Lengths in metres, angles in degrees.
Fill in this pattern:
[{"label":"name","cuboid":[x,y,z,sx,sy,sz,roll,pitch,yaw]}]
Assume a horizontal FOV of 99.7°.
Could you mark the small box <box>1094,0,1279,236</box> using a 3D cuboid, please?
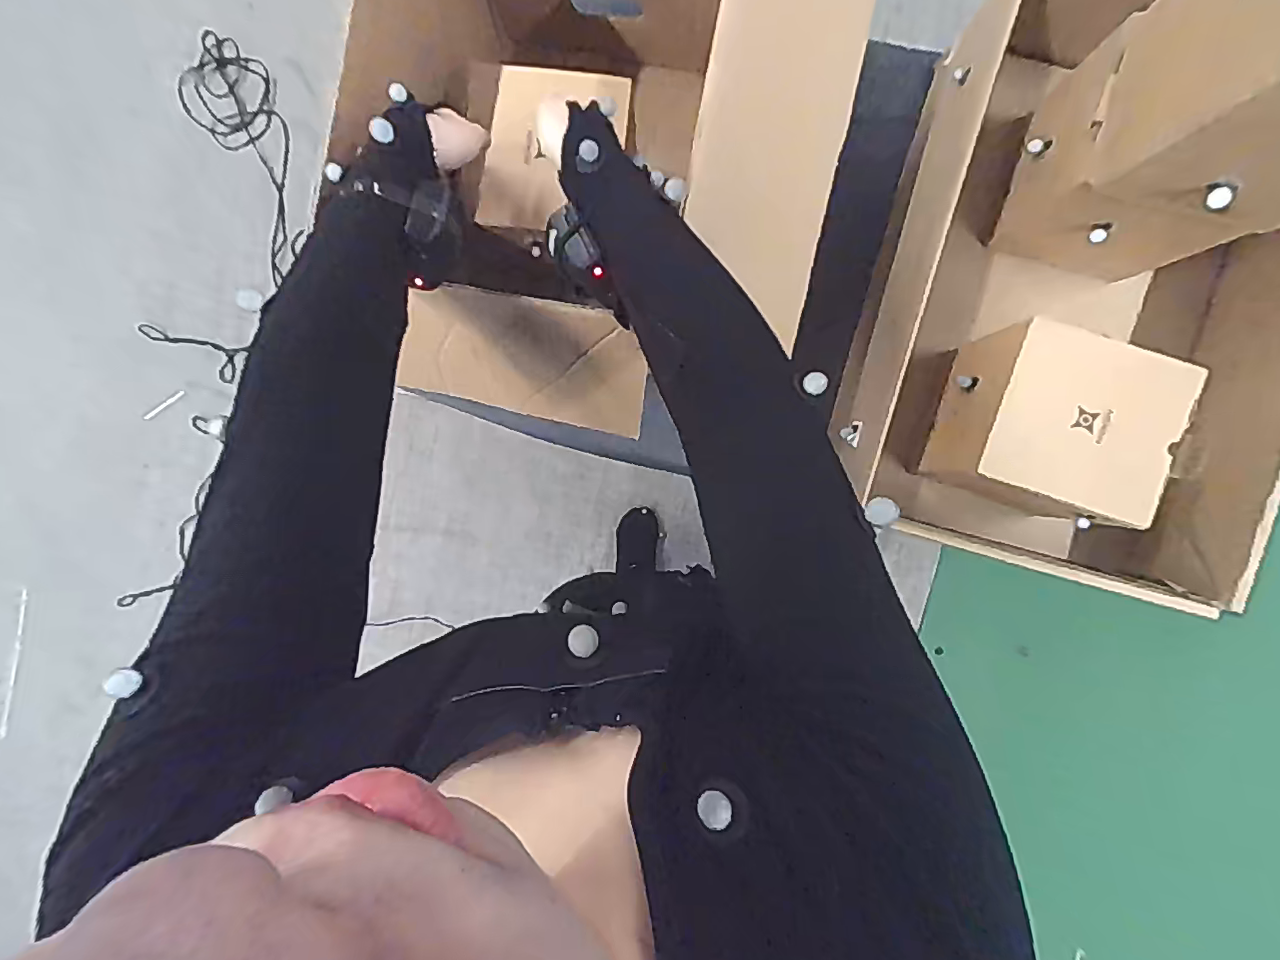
[{"label":"small box","cuboid":[0.522,-0.328,0.431,0.168,0.176,0.179,15,95,2]}]
